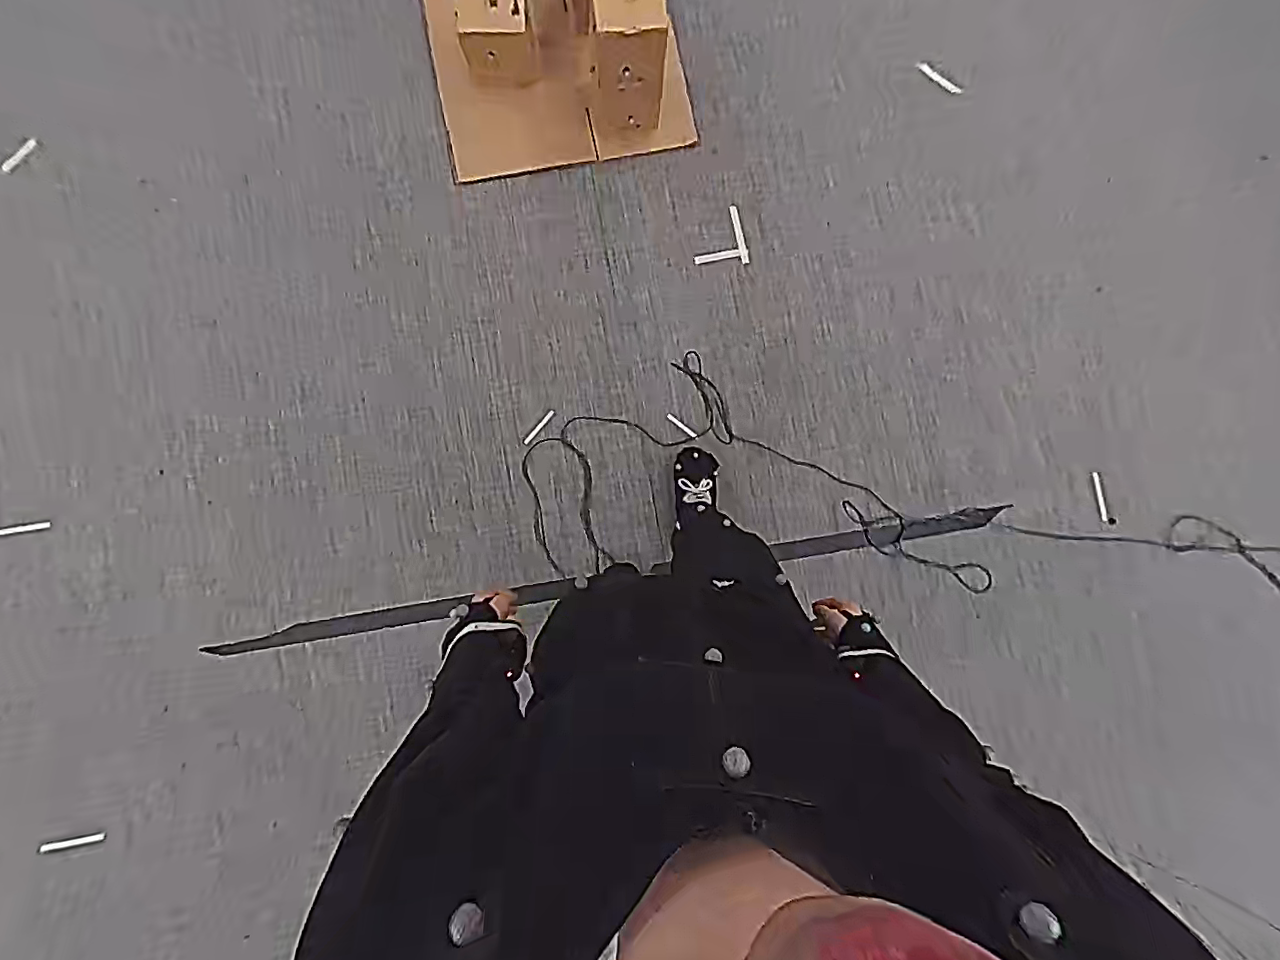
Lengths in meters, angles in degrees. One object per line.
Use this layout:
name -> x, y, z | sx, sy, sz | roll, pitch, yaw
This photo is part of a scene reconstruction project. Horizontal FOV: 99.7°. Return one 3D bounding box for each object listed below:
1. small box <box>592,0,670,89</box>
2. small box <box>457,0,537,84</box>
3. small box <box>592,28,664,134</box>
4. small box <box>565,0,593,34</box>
small box -> -0.027, -1.097, 1.308 | 0.168, 0.176, 0.179 | -7, 88, -3
small box -> -0.381, -1.210, 1.459 | 0.179, 0.176, 0.168 | -2, 87, -1
small box -> -0.036, -1.087, 1.470 | 0.168, 0.176, 0.179 | -11, 88, -3
small box -> -0.119, -1.384, 1.487 | 0.179, 0.176, 0.168 | -16, 86, -4
